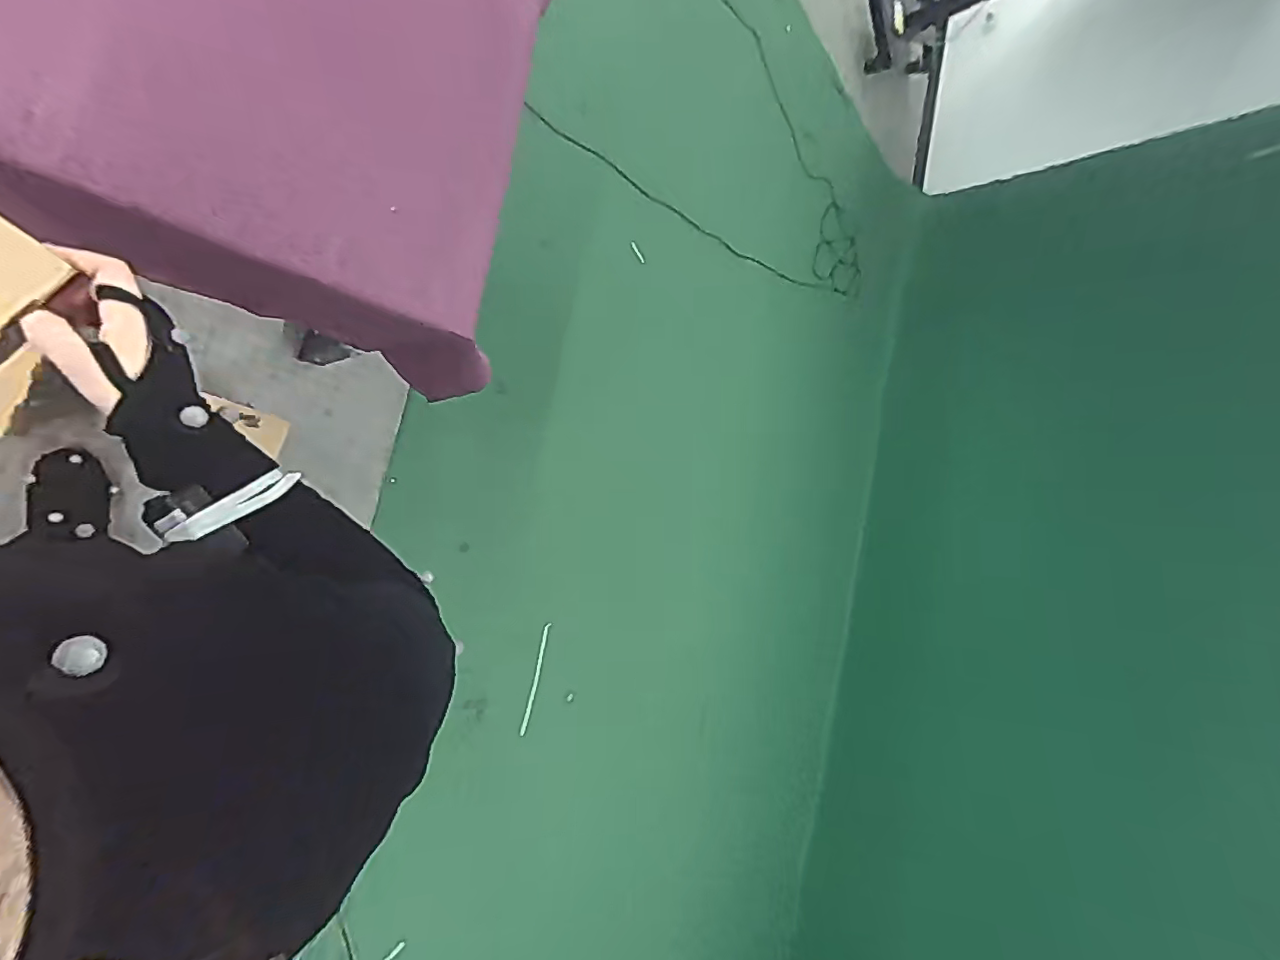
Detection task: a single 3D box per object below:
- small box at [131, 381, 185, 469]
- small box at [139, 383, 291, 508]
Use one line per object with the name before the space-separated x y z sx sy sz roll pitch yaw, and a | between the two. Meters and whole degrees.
small box | -0.894 -0.083 1.103 0.168 0.176 0.179 30 73 -43
small box | -0.777 -0.063 0.989 0.168 0.176 0.179 25 78 -44
